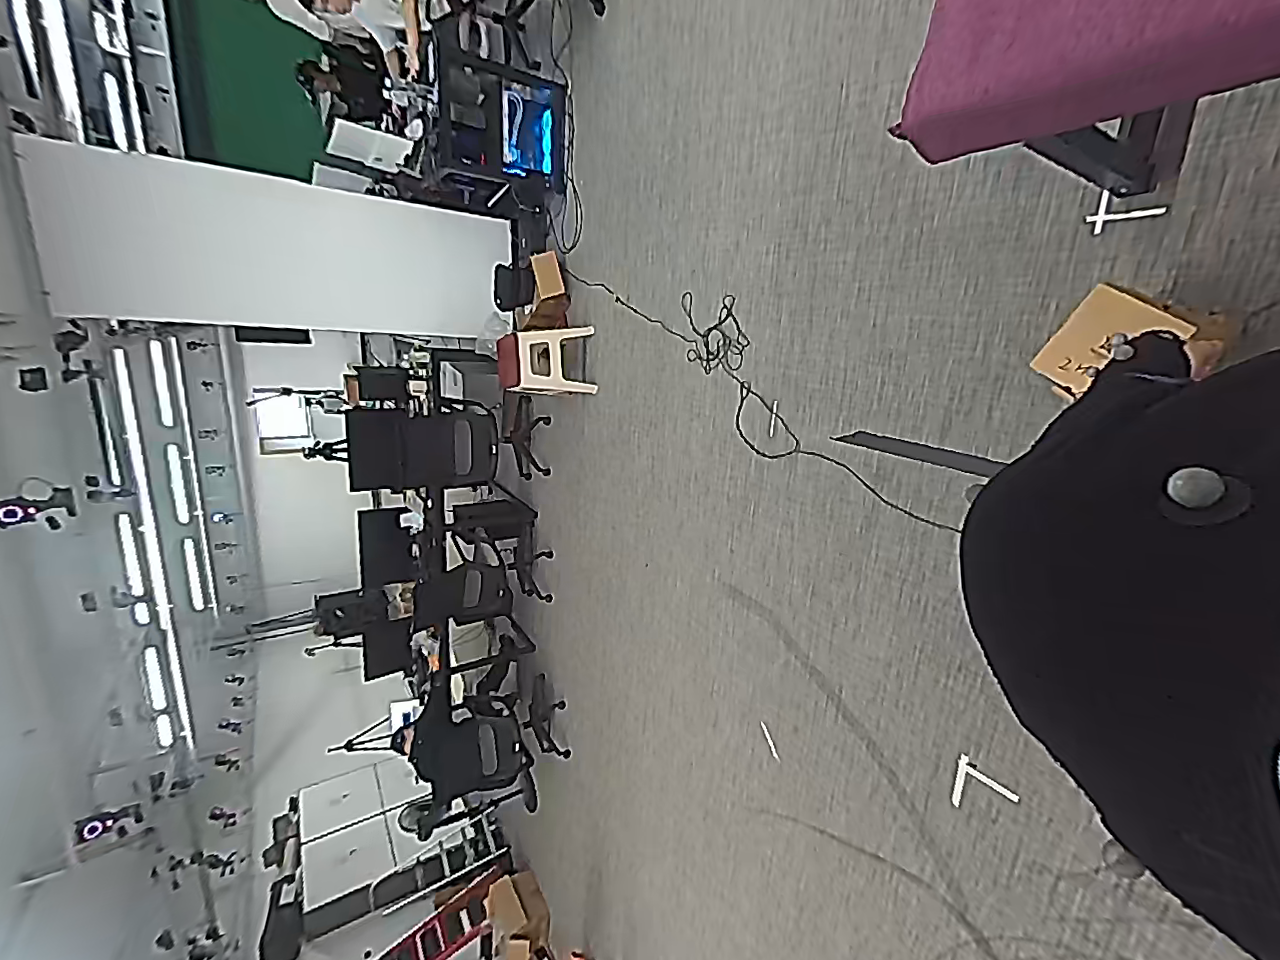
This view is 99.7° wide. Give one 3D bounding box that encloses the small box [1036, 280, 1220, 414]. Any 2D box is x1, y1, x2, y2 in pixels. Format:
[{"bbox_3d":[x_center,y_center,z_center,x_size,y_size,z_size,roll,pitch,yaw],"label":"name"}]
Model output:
[{"bbox_3d":[0.890,-0.241,0.987,0.168,0.176,0.179,56,139,36],"label":"small box"}]
